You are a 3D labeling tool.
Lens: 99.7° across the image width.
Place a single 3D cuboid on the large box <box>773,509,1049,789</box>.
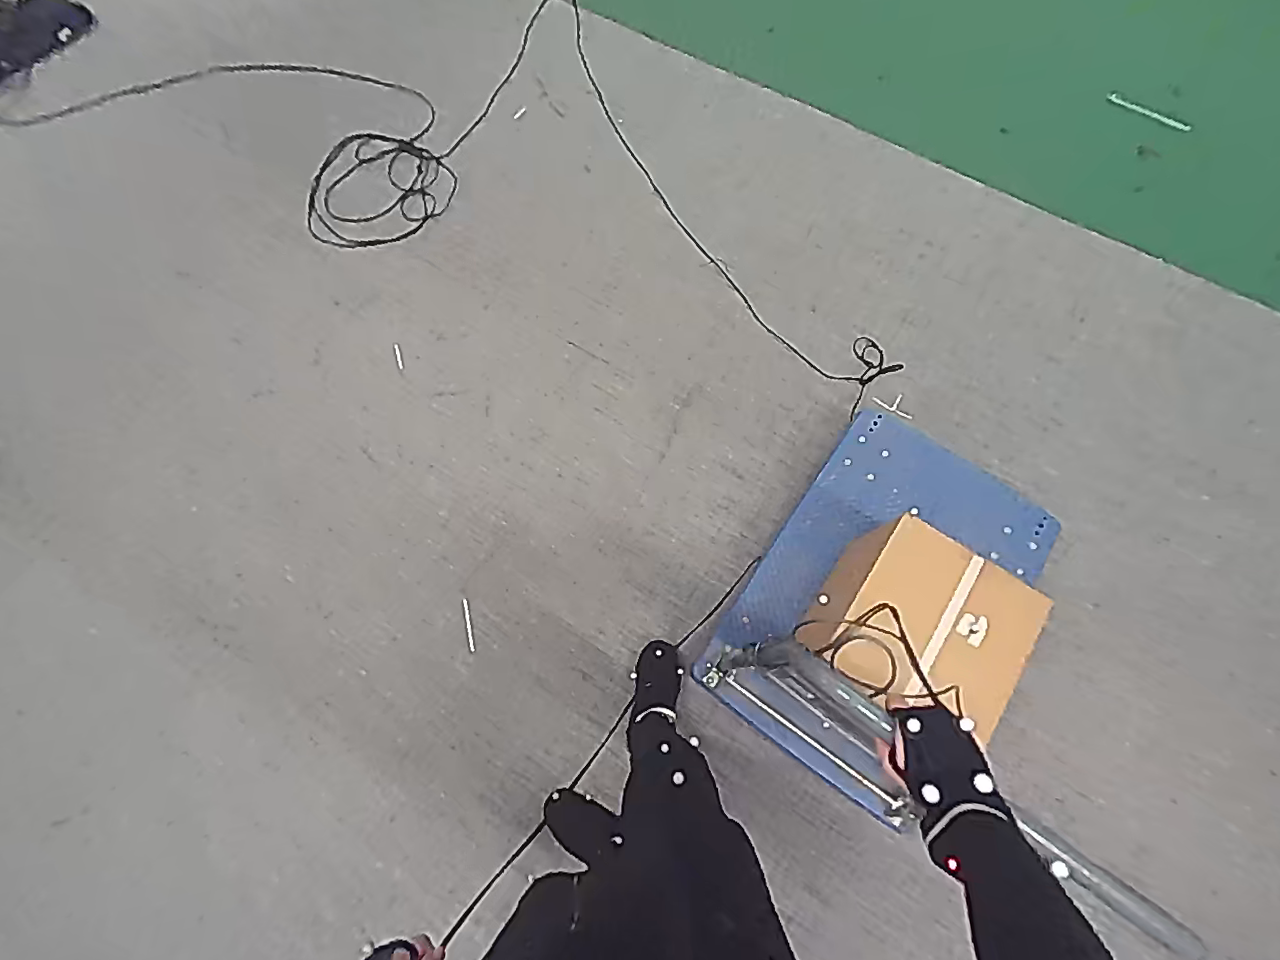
[{"bbox_3d":[0.535,0.341,1.133,0.320,0.320,0.408,34,74,10],"label":"large box"}]
